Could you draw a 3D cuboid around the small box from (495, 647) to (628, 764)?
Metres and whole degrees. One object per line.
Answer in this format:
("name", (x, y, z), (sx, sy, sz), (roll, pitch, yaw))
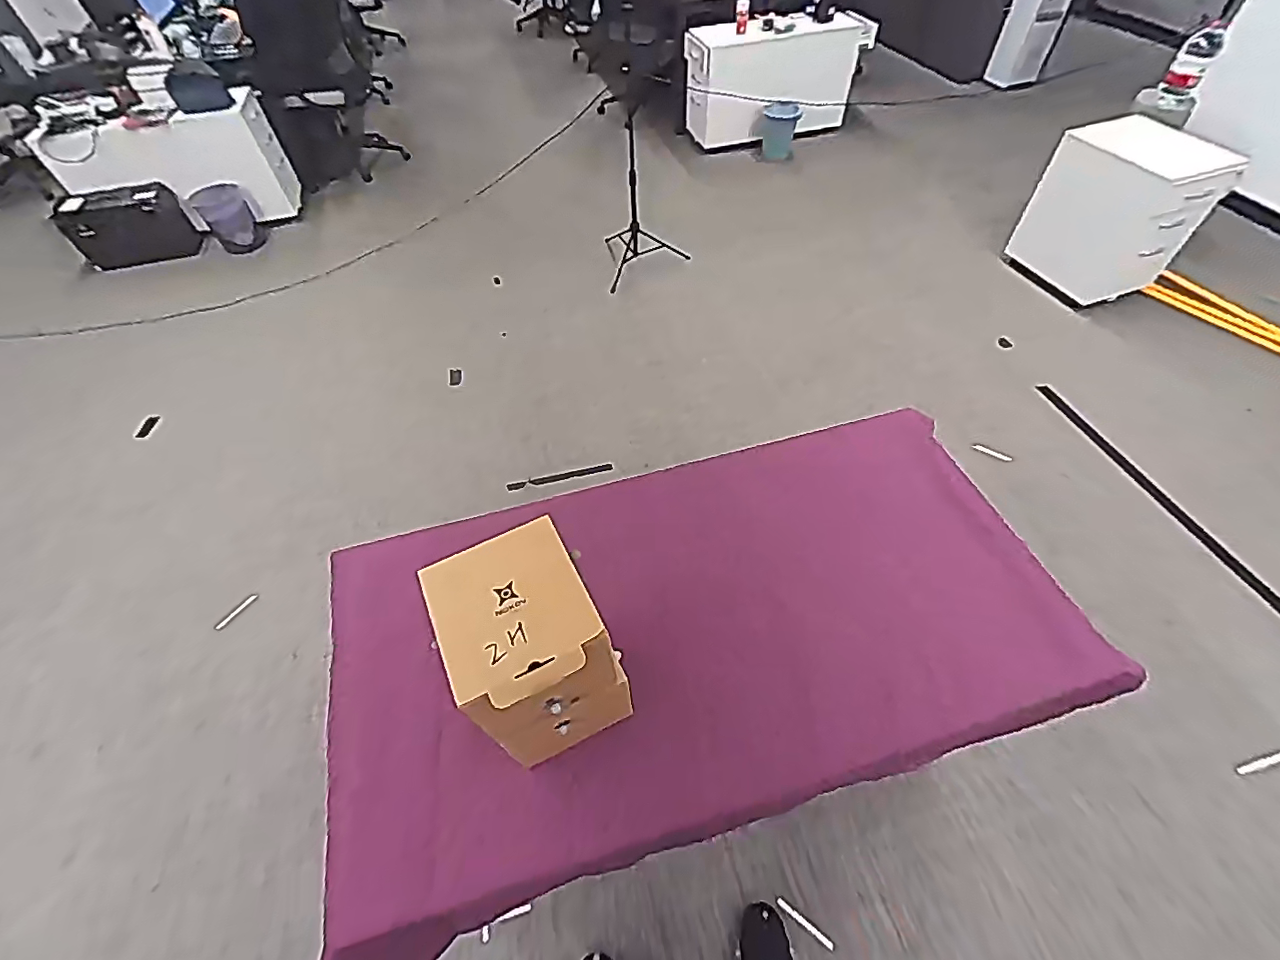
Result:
("small box", (-0.127, 0.286, 0.792), (0.179, 0.176, 0.168), (-21, 55, -15))

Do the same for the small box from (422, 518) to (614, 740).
("small box", (-0.143, 0.184, 0.663), (0.168, 0.176, 0.179), (-23, 55, -14))
